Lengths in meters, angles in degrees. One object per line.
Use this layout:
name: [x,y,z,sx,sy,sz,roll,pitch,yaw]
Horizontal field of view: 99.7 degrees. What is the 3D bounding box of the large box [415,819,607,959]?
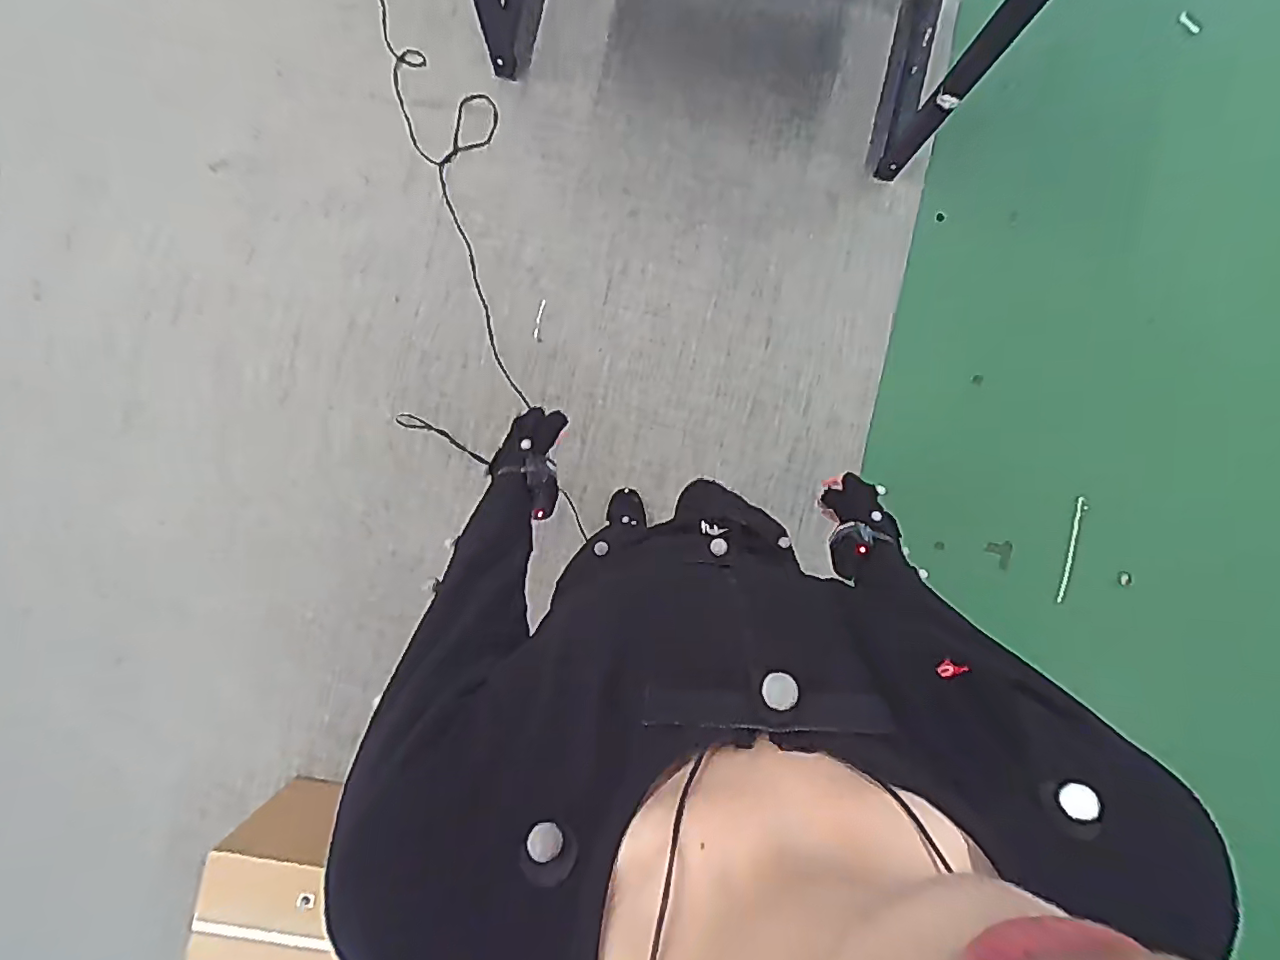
large box: [-0.313,1.101,1.327,0.408,0.320,0.320,14,88,-4]
